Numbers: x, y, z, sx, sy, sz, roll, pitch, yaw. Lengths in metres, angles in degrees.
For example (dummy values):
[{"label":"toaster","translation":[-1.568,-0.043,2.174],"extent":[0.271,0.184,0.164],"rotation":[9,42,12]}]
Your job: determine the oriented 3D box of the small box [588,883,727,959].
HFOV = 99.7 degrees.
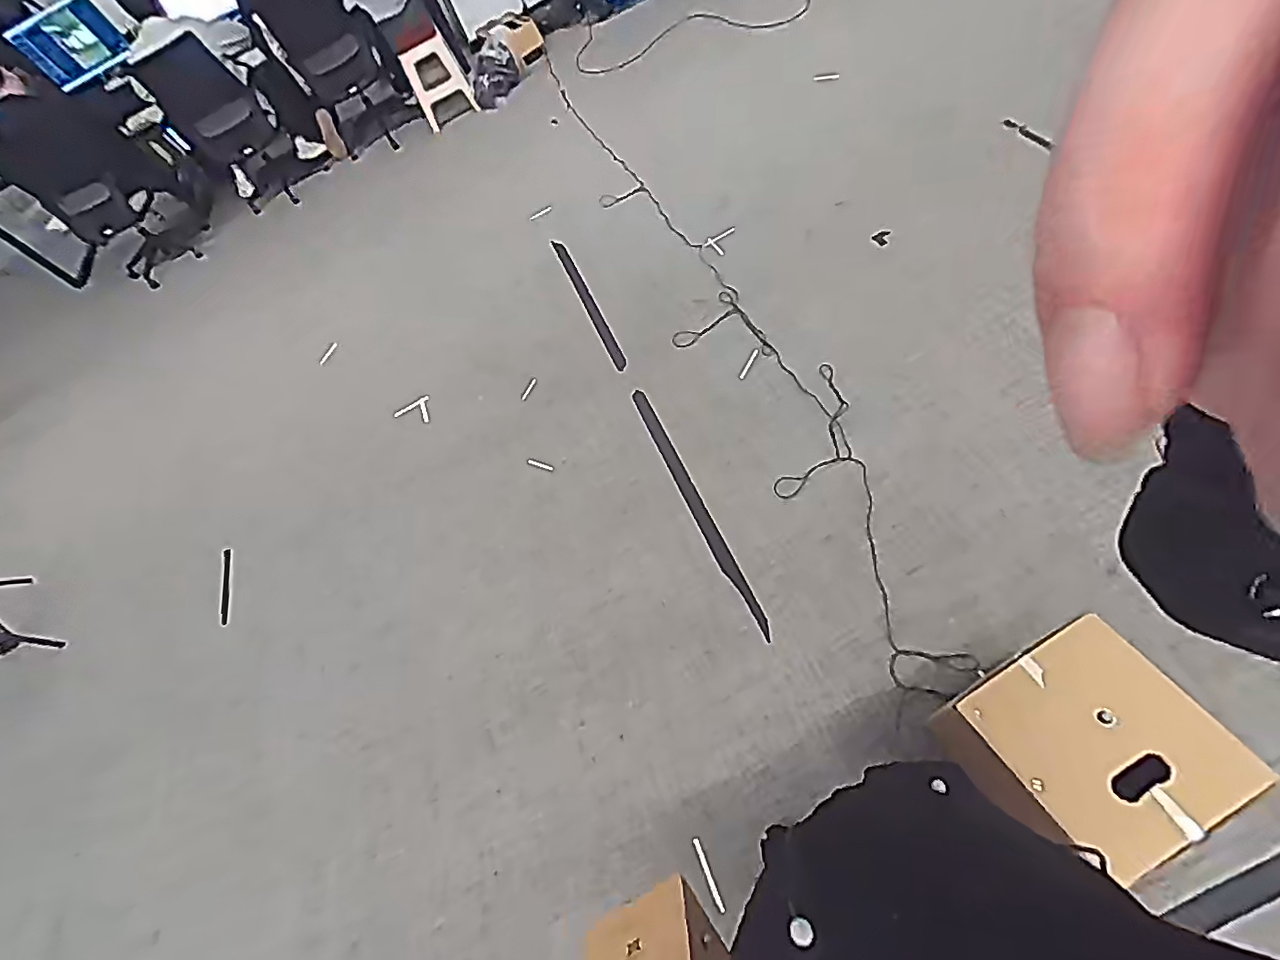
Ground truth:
[{"label":"small box","translation":[0.039,0.703,0.711],"extent":[0.168,0.179,0.176],"rotation":[-32,86,-2]}]
